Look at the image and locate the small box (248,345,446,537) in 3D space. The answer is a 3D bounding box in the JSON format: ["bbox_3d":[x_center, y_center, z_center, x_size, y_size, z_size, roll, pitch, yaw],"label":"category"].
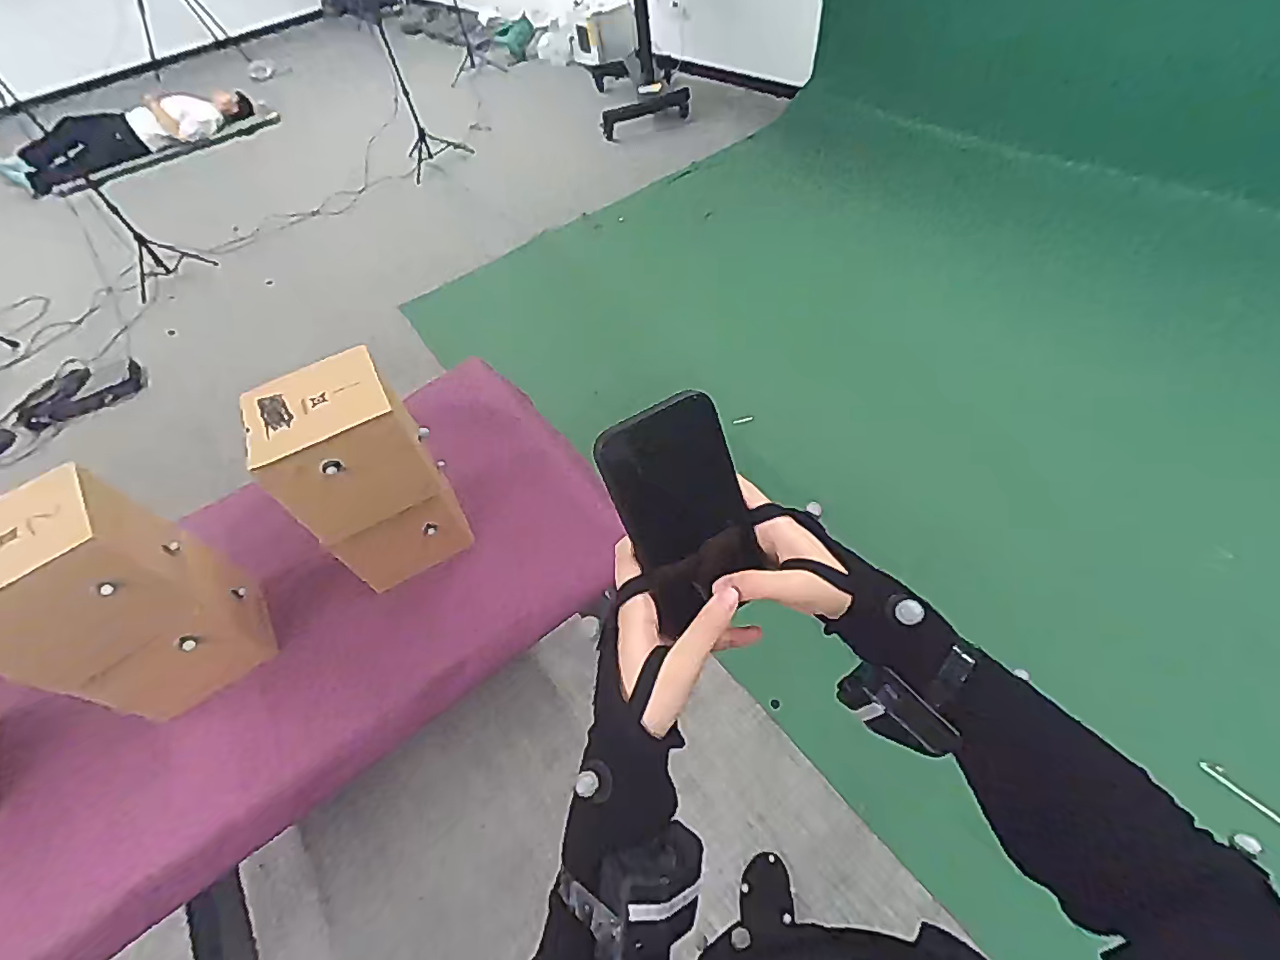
[{"bbox_3d":[-0.404,-0.050,0.758,0.179,0.176,0.168,-28,53,-13],"label":"small box"}]

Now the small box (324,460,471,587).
[{"bbox_3d":[-0.399,0.044,0.893,0.179,0.176,0.168,-28,53,-11],"label":"small box"}]

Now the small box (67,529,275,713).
[{"bbox_3d":[-0.683,0.212,0.807,0.179,0.176,0.168,-33,55,-16],"label":"small box"}]
